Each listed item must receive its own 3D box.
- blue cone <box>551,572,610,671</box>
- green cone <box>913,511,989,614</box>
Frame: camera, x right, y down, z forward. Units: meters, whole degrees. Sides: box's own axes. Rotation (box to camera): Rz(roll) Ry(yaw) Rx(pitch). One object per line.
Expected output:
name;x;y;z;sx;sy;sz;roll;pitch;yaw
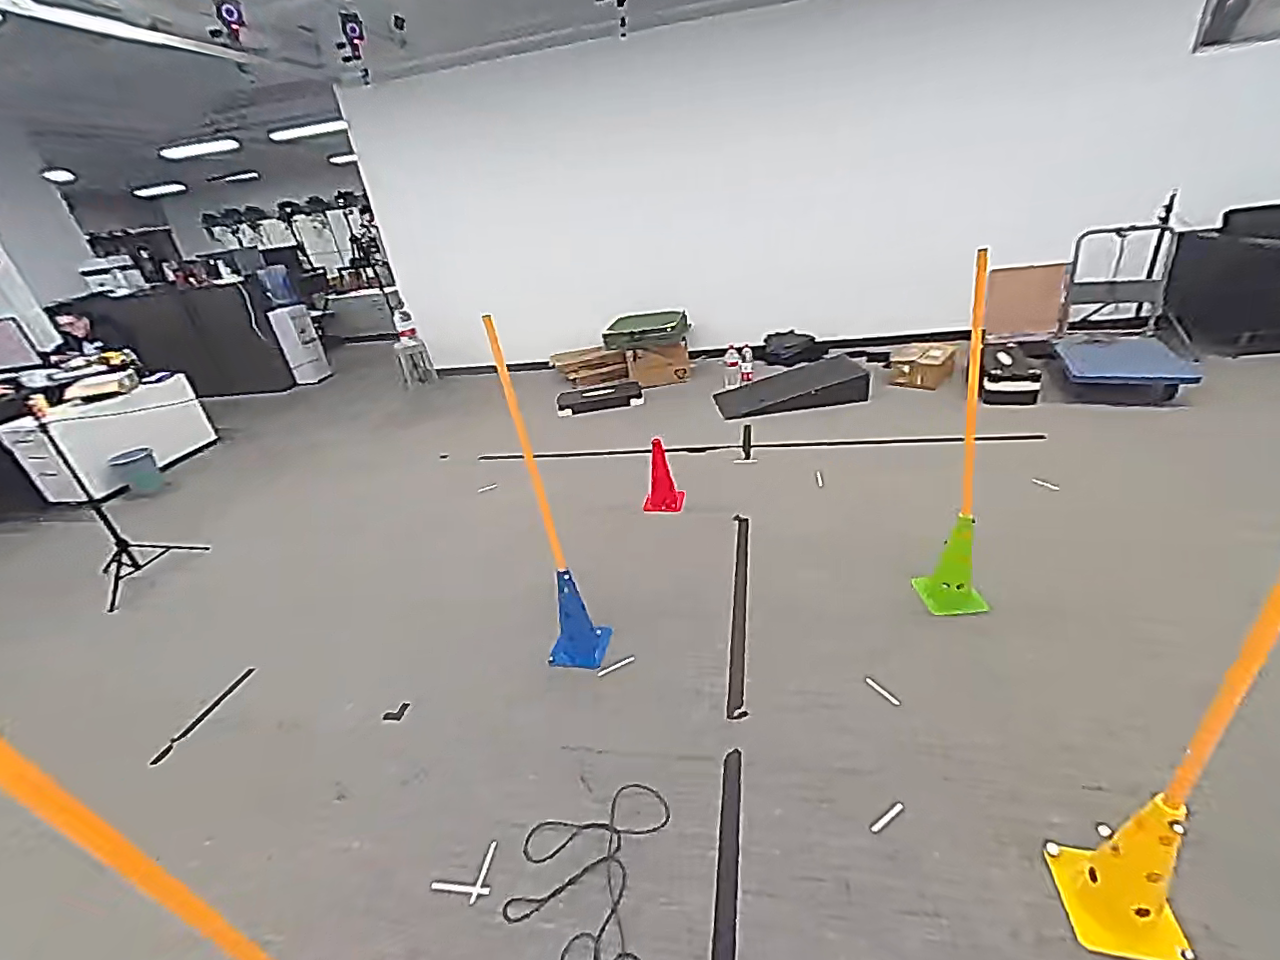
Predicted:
blue cone;-0.235;0.474;1.900;0.193;0.380;0.192;0;29;15
green cone;1.114;0.268;1.903;0.200;0.368;0.202;-7;30;3
